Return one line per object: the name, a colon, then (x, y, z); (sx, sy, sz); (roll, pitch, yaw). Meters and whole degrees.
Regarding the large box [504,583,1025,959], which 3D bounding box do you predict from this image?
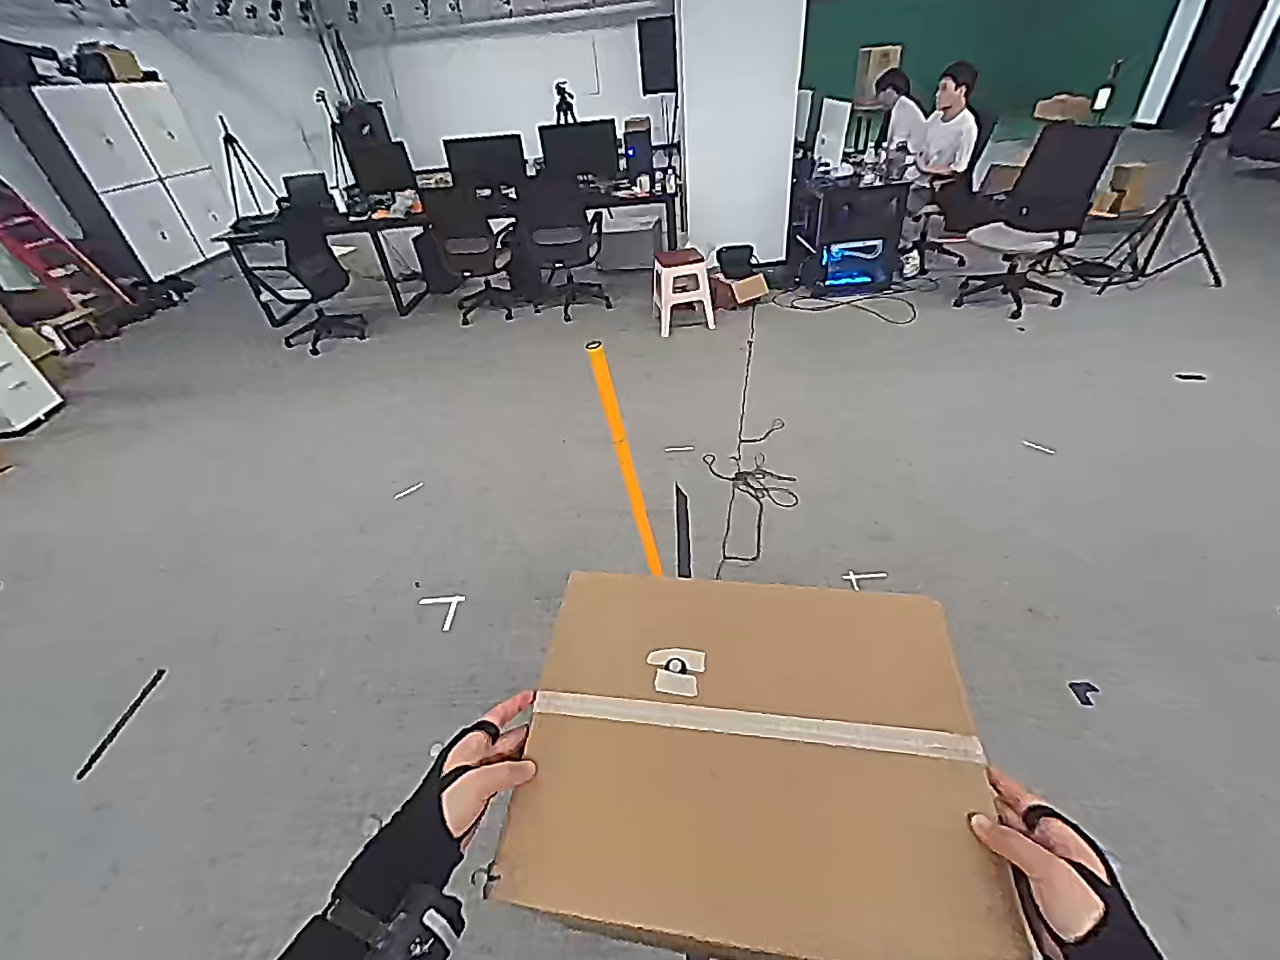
large box: (0.118, 0.337, 0.623); (0.408, 0.320, 0.320); (1, 46, 10)
